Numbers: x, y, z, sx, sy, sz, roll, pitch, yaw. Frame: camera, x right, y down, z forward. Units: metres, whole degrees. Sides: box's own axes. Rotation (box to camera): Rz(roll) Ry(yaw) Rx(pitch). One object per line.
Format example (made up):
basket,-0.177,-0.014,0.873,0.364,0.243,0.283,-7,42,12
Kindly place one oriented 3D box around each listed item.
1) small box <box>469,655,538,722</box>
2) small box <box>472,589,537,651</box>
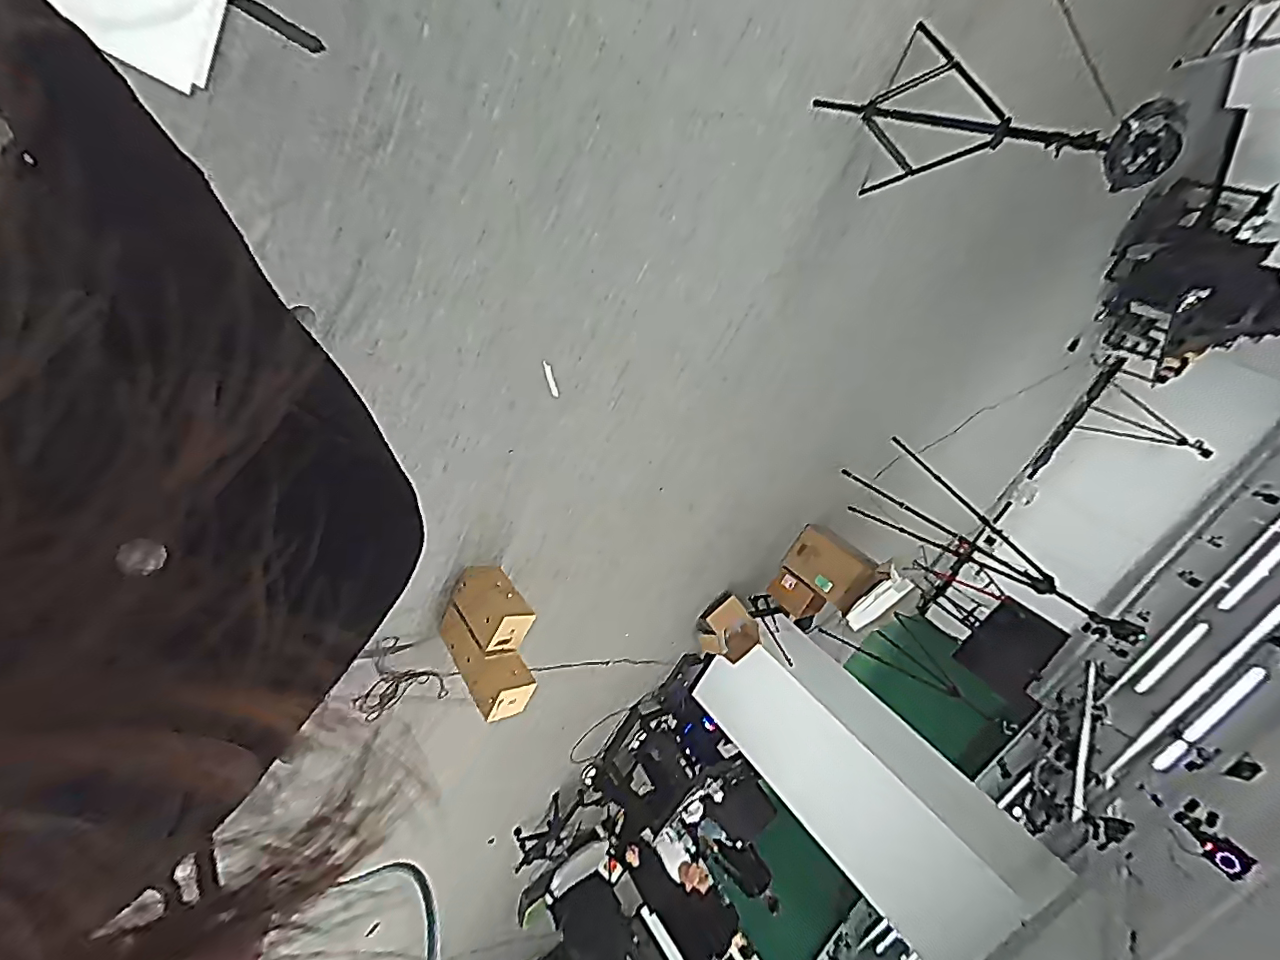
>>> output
small box,-0.549,0.827,2.163,0.179,0.176,0.168,6,117,-49
small box,-0.559,0.566,2.196,0.168,0.176,0.179,15,110,-51
